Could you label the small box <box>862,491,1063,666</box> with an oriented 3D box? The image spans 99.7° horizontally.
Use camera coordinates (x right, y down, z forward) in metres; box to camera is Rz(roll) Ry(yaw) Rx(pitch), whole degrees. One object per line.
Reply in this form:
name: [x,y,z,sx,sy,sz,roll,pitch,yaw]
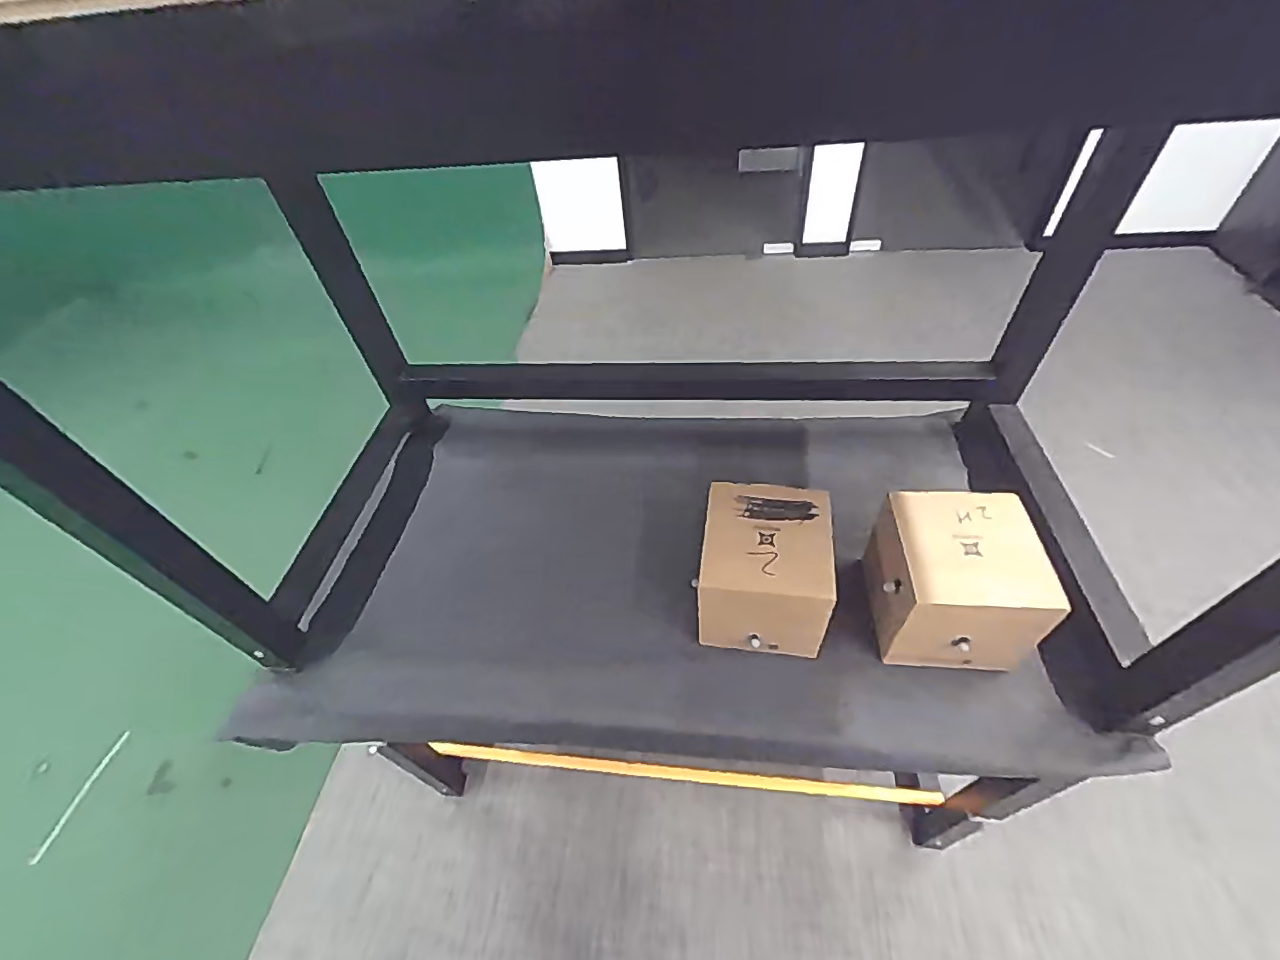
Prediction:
small box: [0.415,0.136,0.734,0.168,0.176,0.179,1,47,7]
